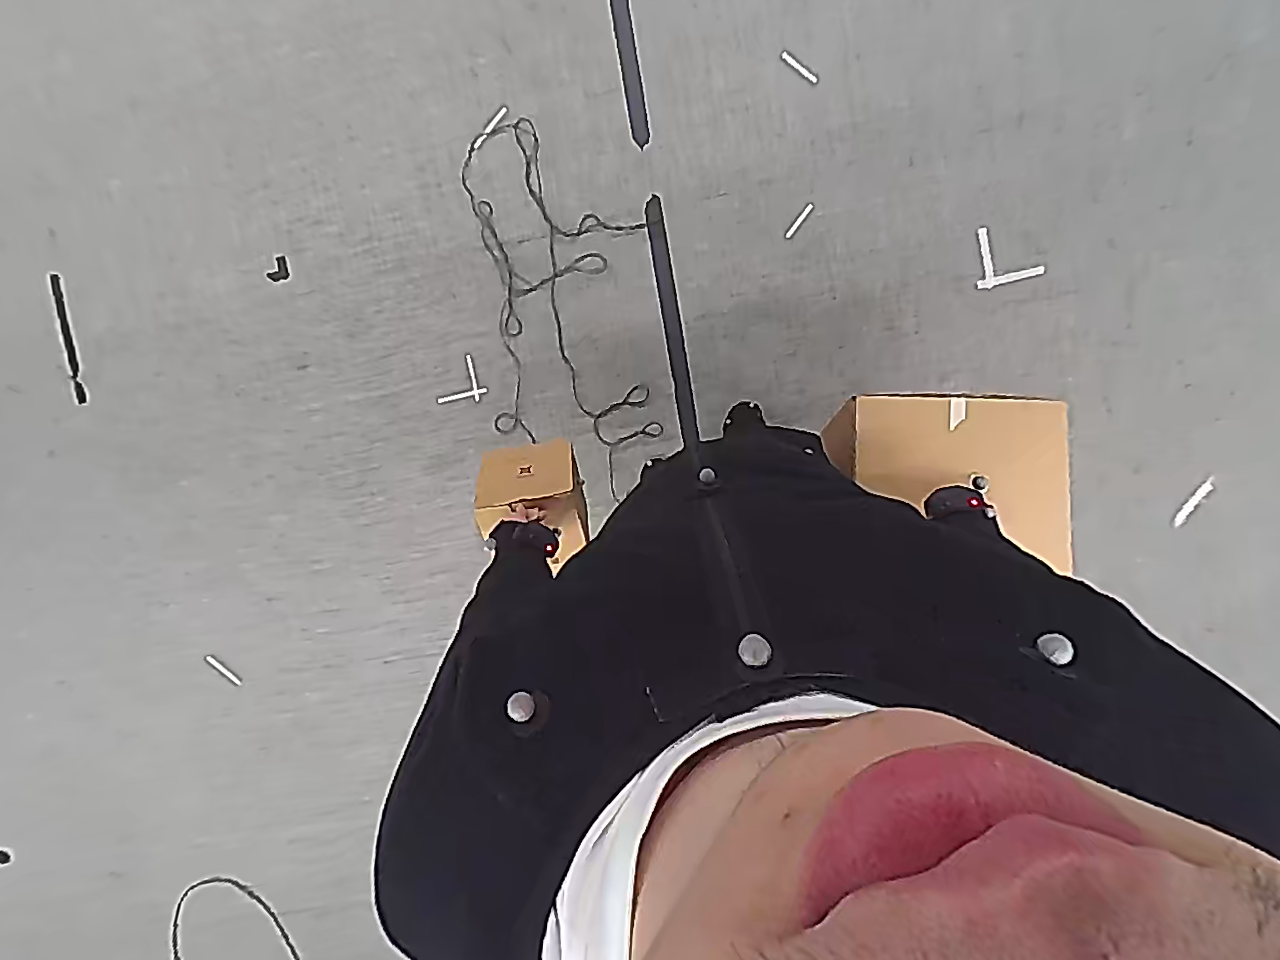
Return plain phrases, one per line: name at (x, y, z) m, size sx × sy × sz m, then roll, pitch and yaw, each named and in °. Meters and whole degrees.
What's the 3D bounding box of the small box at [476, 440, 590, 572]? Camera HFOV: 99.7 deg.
small box at (-0.189, 0.053, 0.996) m, size 0.168 × 0.179 × 0.176 m, roll -10°, pitch 125°, yaw -3°
